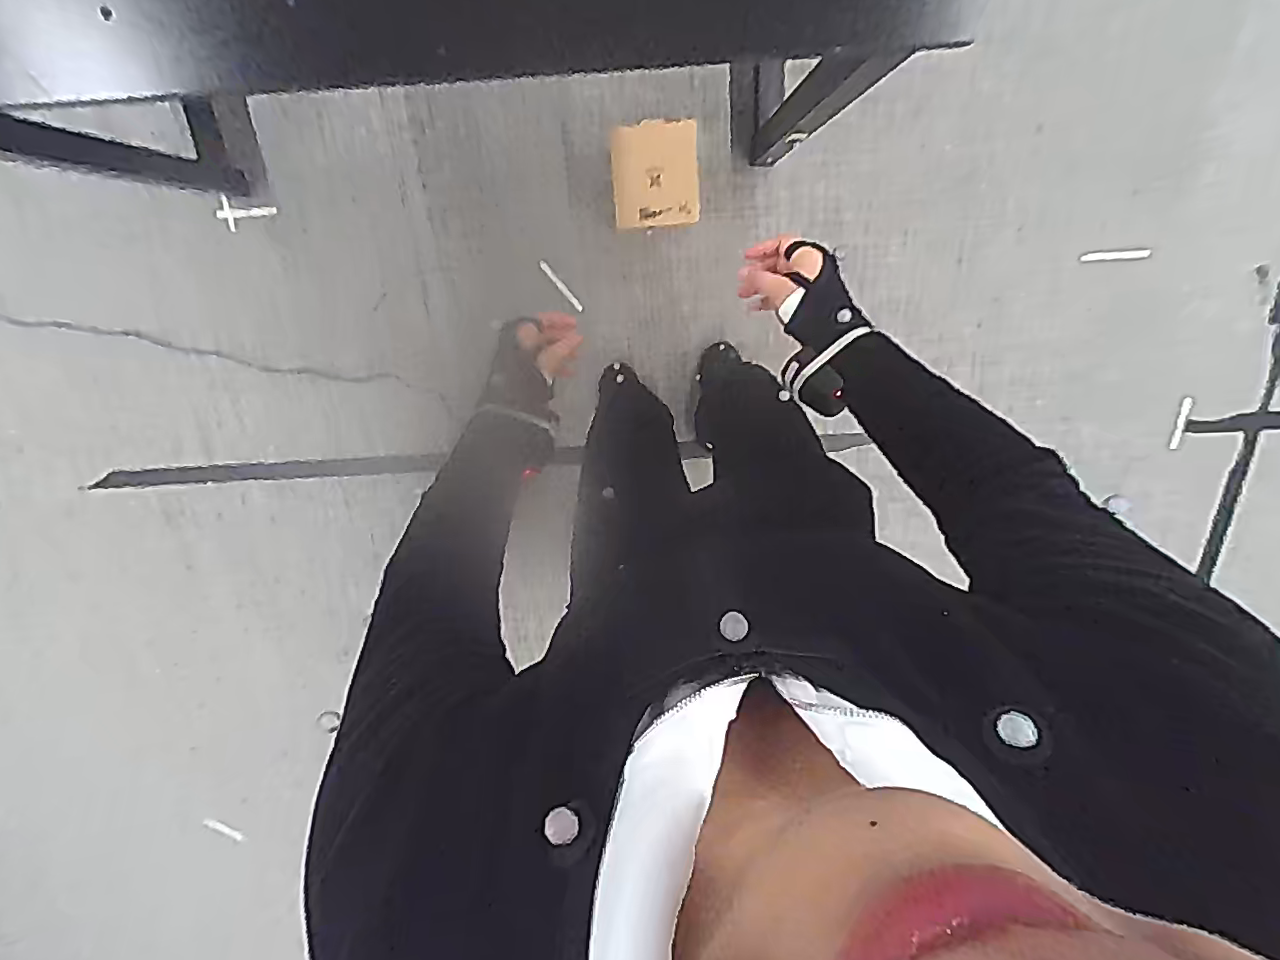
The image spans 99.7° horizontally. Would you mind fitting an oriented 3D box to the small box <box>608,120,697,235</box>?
[{"bbox_3d":[0.025,-0.608,1.105,0.168,0.176,0.179,-4,110,2],"label":"small box"}]
